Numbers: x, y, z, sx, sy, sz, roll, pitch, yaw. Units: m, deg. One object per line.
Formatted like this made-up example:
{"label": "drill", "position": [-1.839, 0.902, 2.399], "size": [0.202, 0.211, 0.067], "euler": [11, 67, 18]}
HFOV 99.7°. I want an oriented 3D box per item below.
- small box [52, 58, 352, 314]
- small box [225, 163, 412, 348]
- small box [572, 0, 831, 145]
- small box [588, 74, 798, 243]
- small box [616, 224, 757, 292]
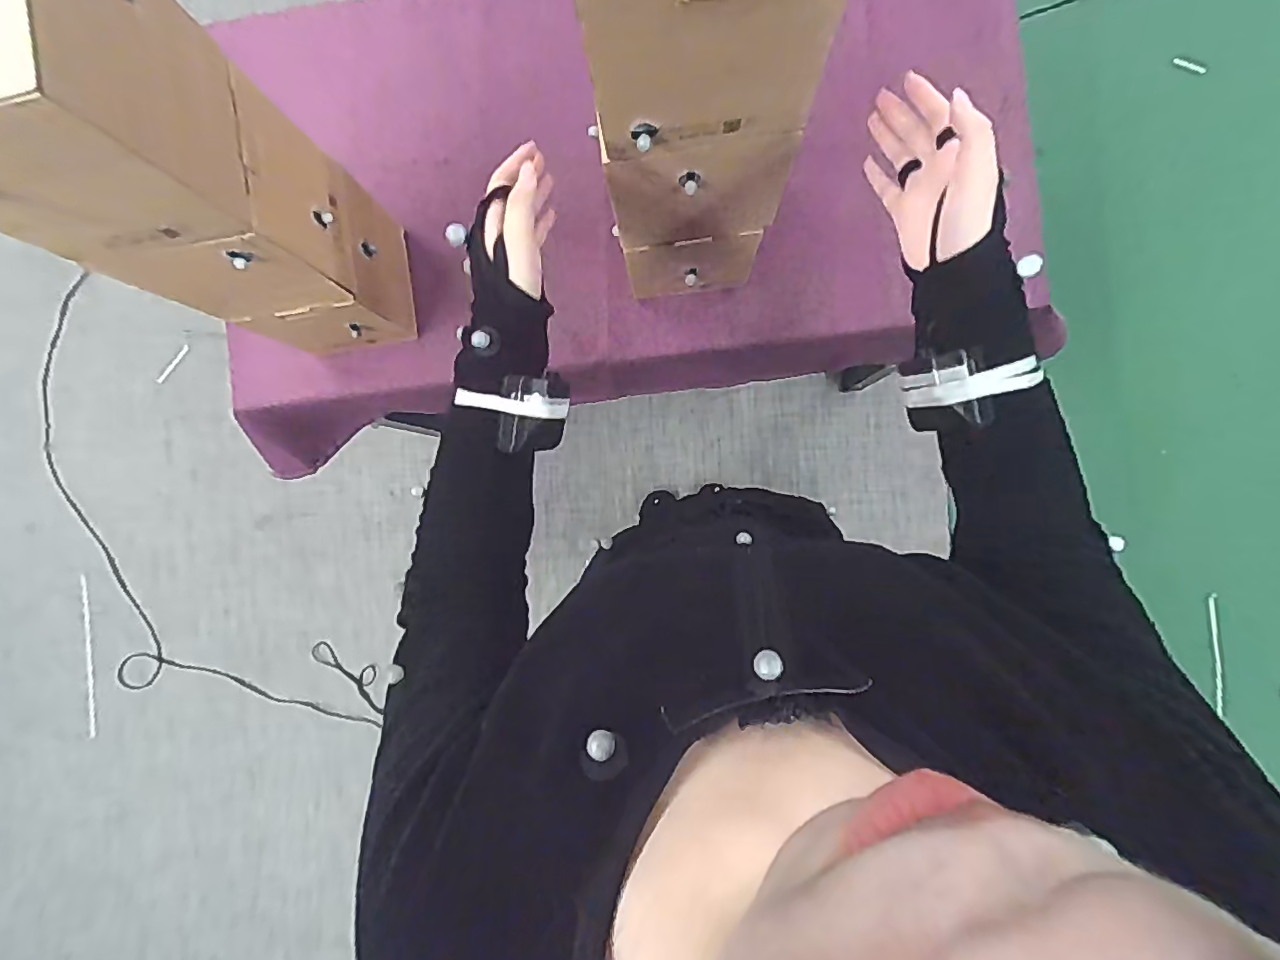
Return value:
{"label": "small box", "position": [-0.444, -0.290, 0.574], "size": [0.179, 0.176, 0.168], "euler": [-10, 89, 1]}
{"label": "small box", "position": [-0.431, -0.288, 0.736], "size": [0.168, 0.176, 0.179], "euler": [-8, 88, 2]}
{"label": "small box", "position": [0.037, -0.368, 0.379], "size": [0.168, 0.176, 0.179], "euler": [-7, 87, 3]}
{"label": "small box", "position": [0.046, -0.360, 0.544], "size": [0.179, 0.176, 0.168], "euler": [-7, 89, 3]}
{"label": "small box", "position": [0.053, -0.359, 0.709], "size": [0.168, 0.176, 0.179], "euler": [-6, 89, 3]}
